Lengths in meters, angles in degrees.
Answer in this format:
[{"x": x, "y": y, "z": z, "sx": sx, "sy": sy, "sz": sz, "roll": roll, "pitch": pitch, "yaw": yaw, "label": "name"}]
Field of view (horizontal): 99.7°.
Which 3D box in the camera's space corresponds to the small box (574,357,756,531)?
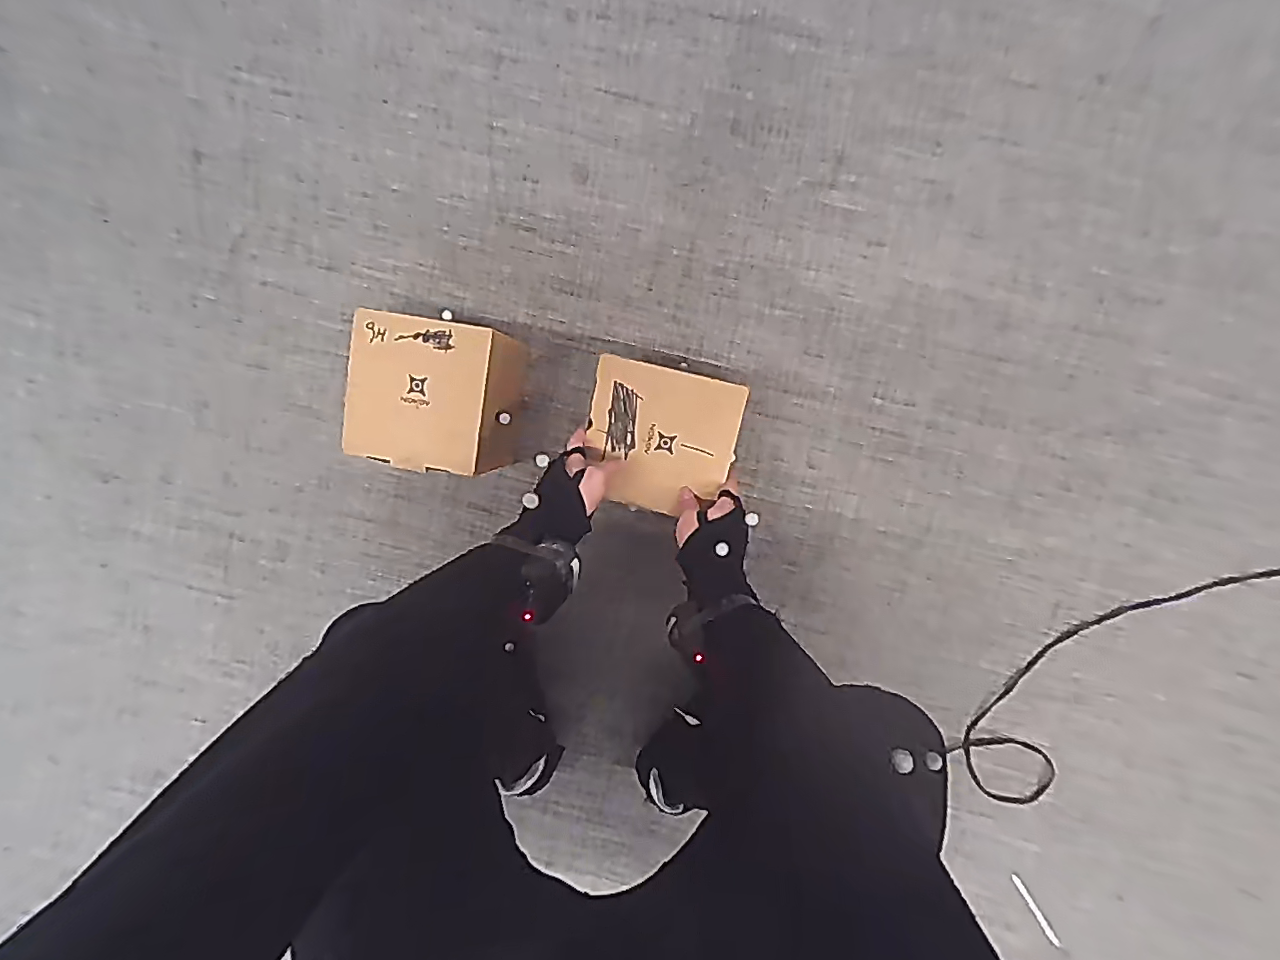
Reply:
[{"x": 0.034, "y": -0.050, "z": 0.705, "sx": 0.179, "sy": 0.176, "sz": 0.168, "roll": 17, "pitch": 99, "yaw": 3, "label": "small box"}]
